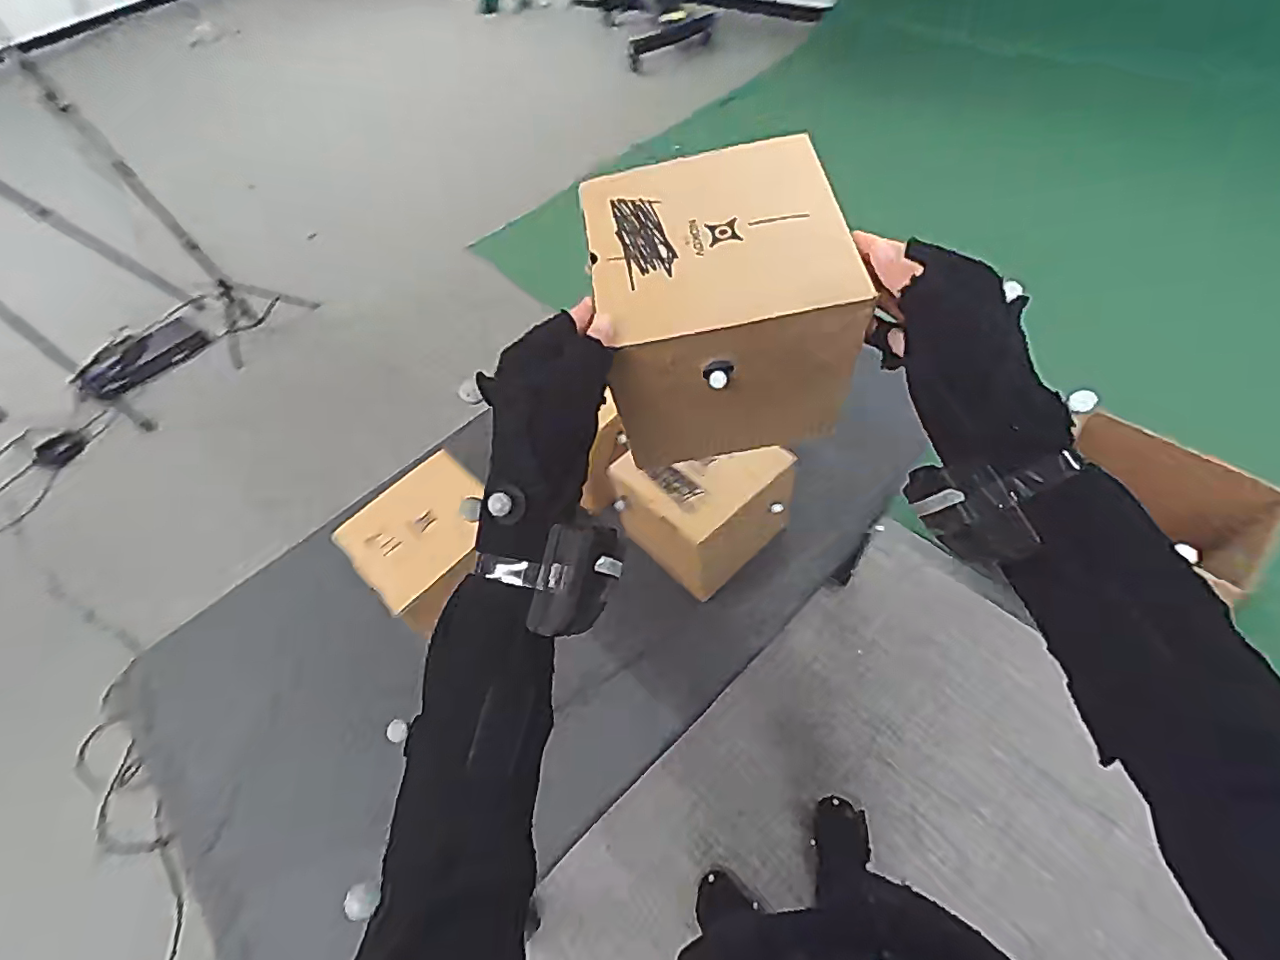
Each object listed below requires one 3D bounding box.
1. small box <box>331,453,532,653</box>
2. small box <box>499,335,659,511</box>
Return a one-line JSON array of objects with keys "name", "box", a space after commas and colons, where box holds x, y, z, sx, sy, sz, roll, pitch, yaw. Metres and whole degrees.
[{"name": "small box", "box": [-0.269, 0.103, 0.745, 0.168, 0.176, 0.179, 36, 68, 28]}, {"name": "small box", "box": [-0.083, -0.087, 0.849, 0.168, 0.176, 0.179, 35, 68, 27]}]
